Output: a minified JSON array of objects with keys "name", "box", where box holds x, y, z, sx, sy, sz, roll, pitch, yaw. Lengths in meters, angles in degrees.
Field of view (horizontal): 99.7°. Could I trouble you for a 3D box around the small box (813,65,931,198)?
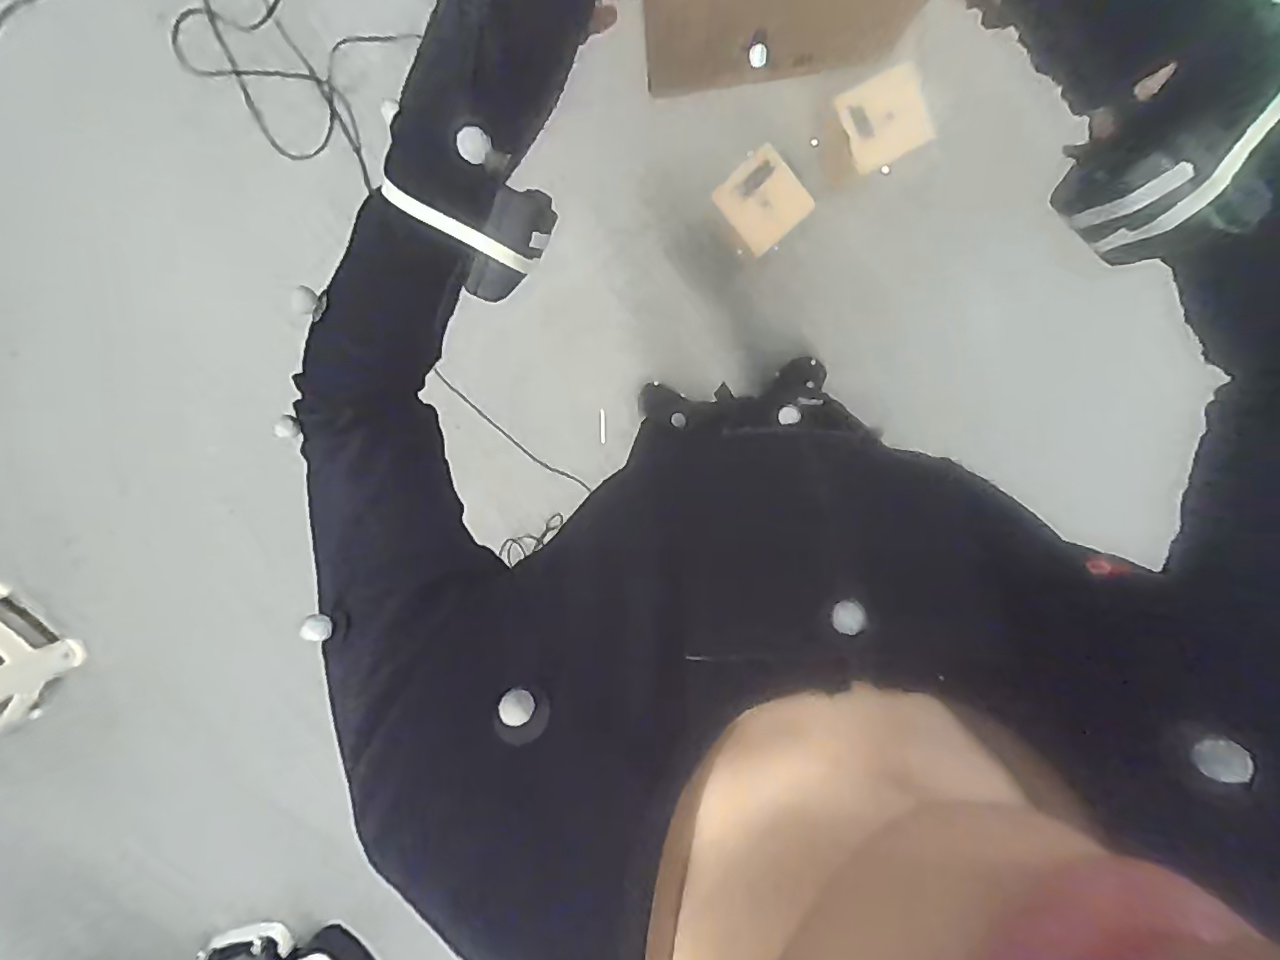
[{"name":"small box","box":[0.511,-0.774,1.224,0.179,0.176,0.168,-25,100,5]}]
